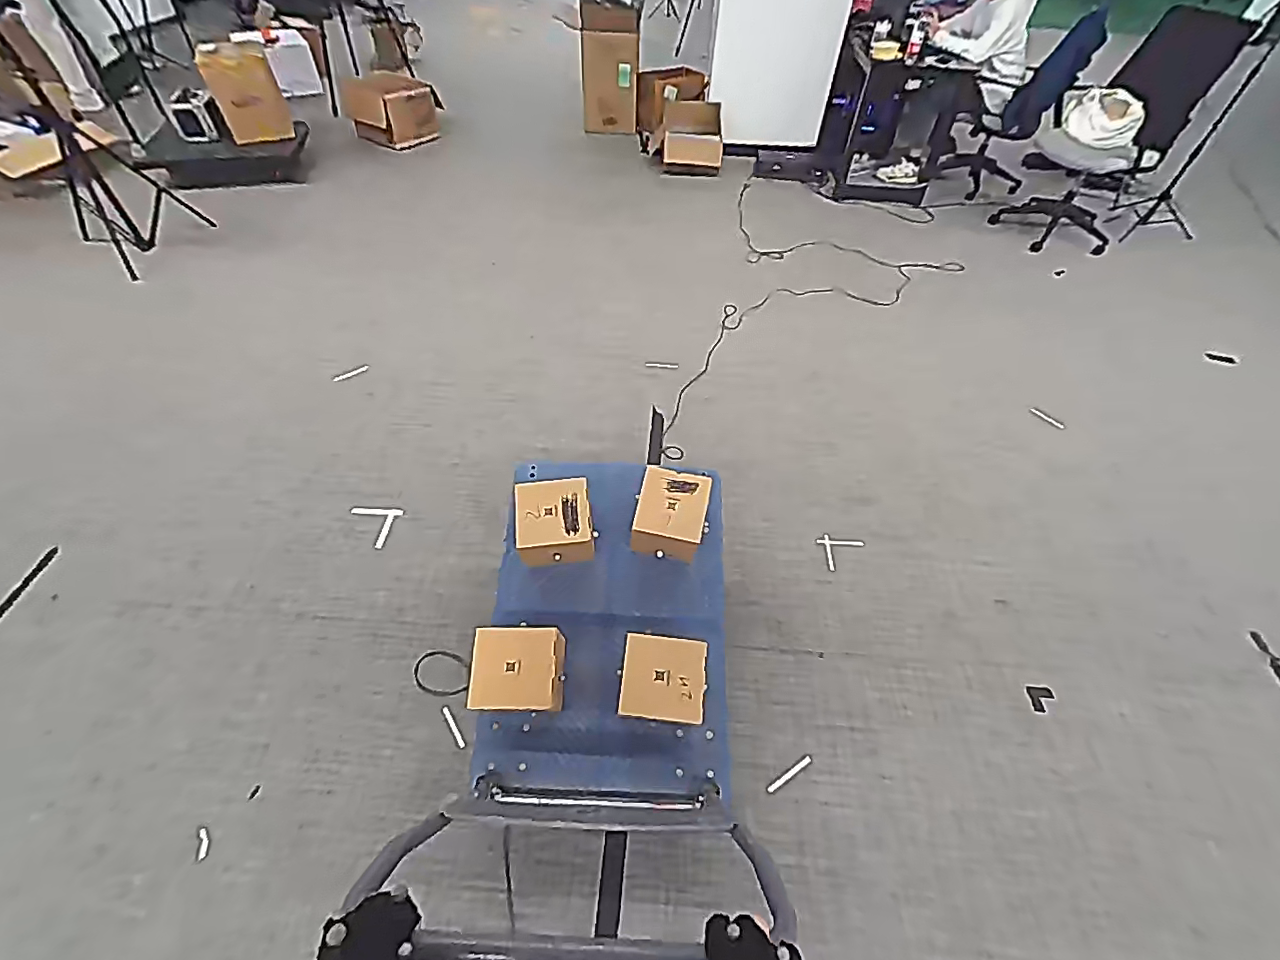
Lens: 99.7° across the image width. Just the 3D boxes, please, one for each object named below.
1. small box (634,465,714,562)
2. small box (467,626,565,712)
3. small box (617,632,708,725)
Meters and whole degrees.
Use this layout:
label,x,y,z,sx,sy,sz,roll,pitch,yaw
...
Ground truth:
label,x,y,z,sx,sy,sz,roll,pitch,yaw
small box,0.081,0.090,1.370,0.168,0.176,0.179,12,66,5
small box,-0.268,0.425,1.207,0.179,0.176,0.168,1,65,-2
small box,0.049,0.446,1.202,0.179,0.176,0.168,7,65,3
